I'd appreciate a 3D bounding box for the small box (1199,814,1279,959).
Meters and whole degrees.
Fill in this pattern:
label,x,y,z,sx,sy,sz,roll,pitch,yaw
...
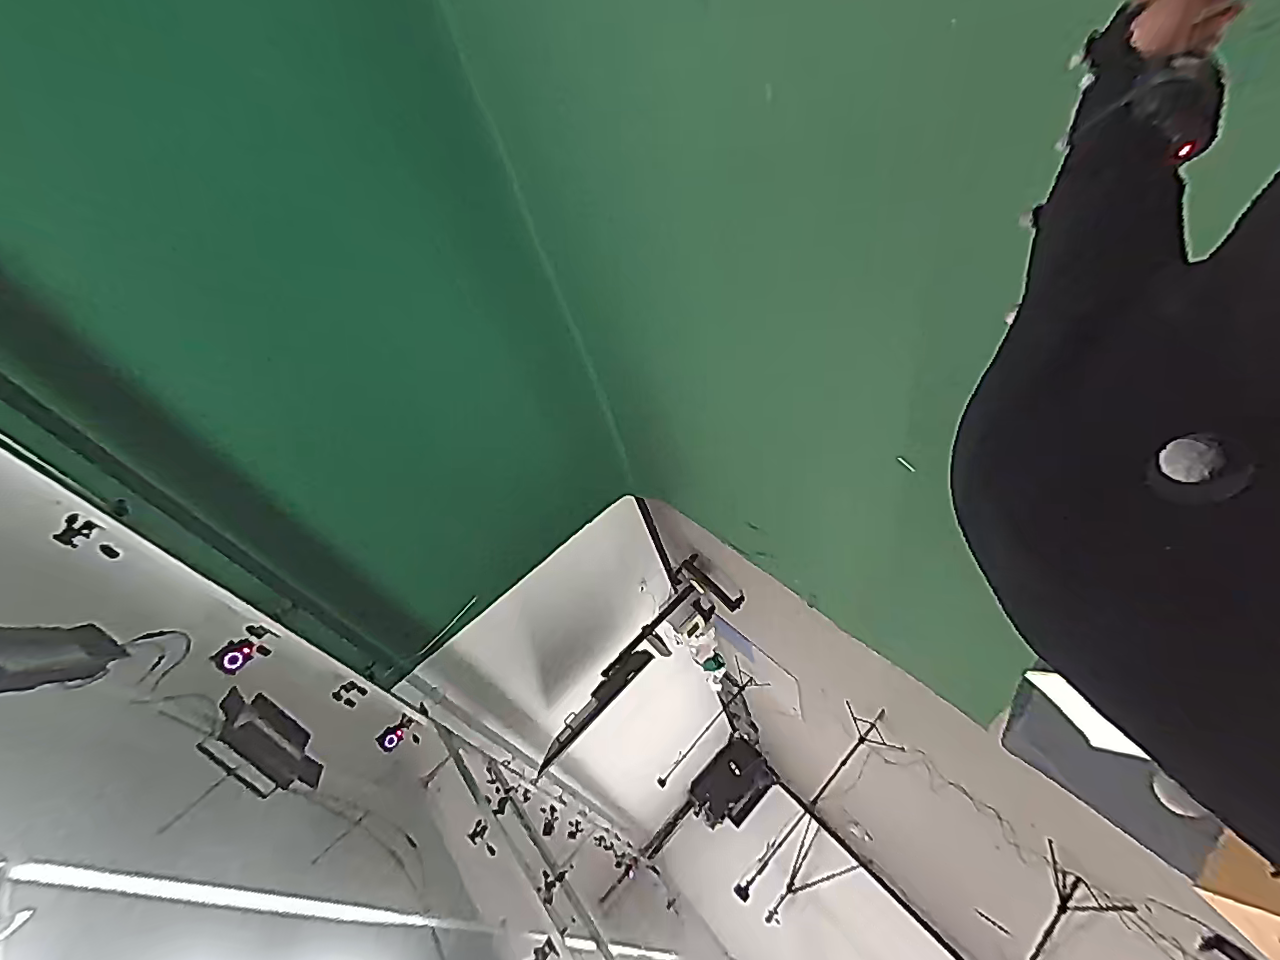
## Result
label,x,y,z,sx,sy,sz,roll,pitch,yaw
small box,1.117,0.700,0.898,0.179,0.176,0.168,44,162,11
